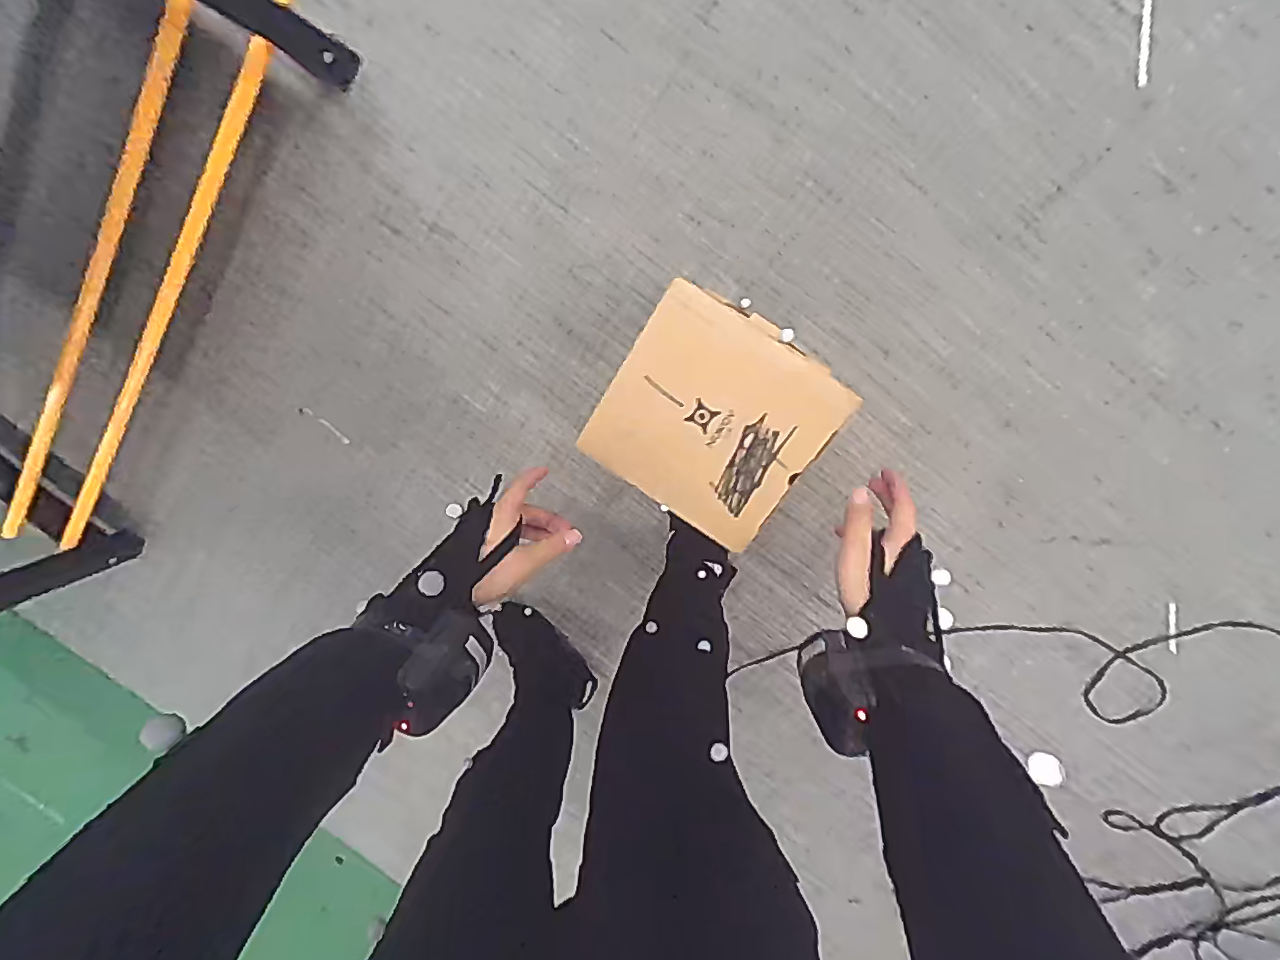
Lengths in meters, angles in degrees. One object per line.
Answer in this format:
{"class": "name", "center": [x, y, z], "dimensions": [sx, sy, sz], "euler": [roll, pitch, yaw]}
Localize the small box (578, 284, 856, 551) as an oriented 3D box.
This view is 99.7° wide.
{"class": "small box", "center": [0.074, -0.068, 0.525], "dimensions": [0.179, 0.176, 0.168], "euler": [34, 109, 1]}
